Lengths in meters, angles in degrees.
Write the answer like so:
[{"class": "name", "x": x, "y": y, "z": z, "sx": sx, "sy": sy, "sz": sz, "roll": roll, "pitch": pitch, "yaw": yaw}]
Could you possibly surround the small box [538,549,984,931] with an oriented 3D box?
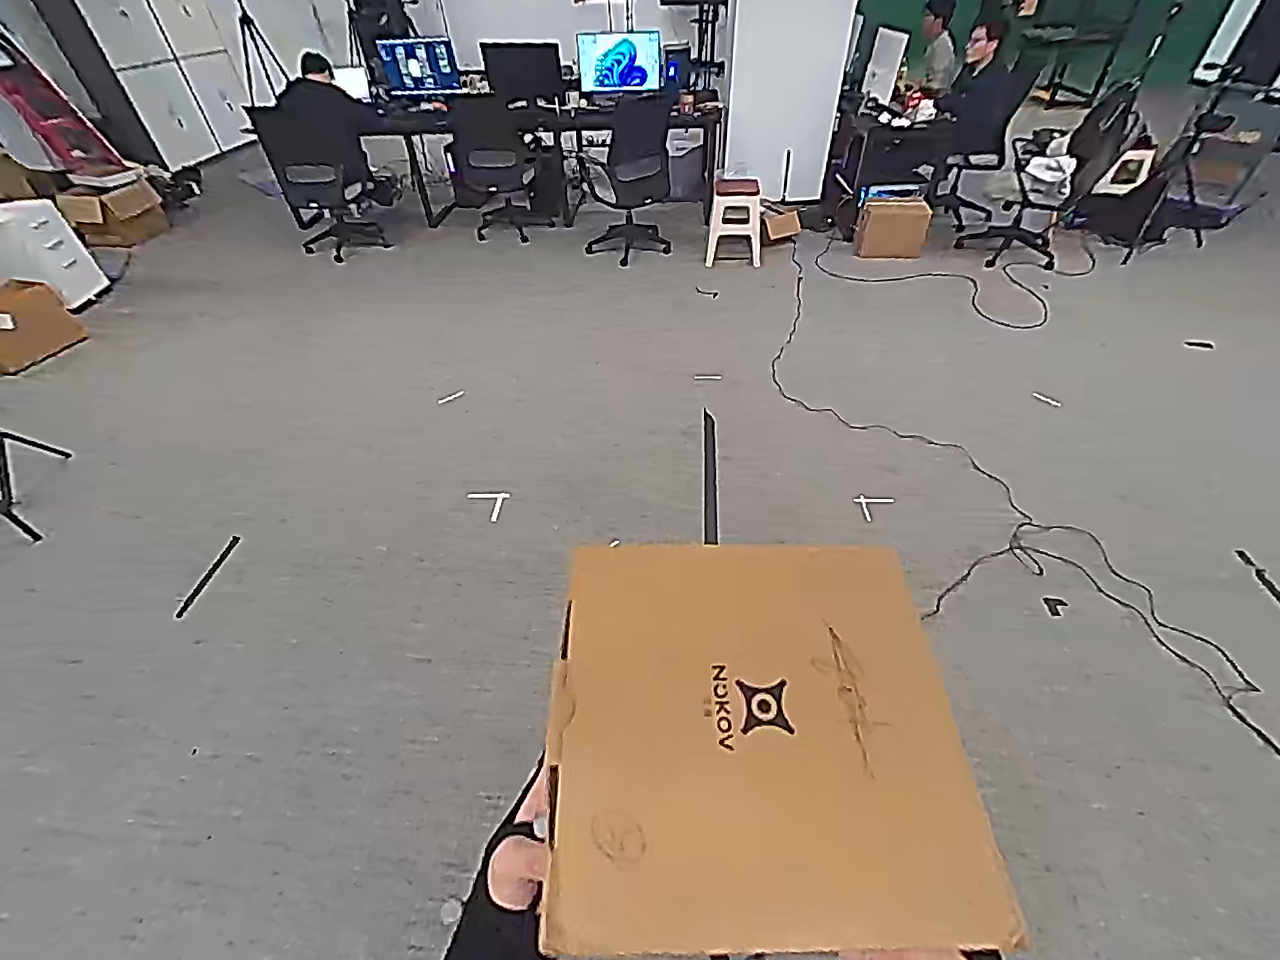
[{"class": "small box", "x": 0.044, "y": 0.154, "z": 0.316, "sx": 0.179, "sy": 0.176, "sz": 0.168, "roll": -1, "pitch": 53, "yaw": -3}]
